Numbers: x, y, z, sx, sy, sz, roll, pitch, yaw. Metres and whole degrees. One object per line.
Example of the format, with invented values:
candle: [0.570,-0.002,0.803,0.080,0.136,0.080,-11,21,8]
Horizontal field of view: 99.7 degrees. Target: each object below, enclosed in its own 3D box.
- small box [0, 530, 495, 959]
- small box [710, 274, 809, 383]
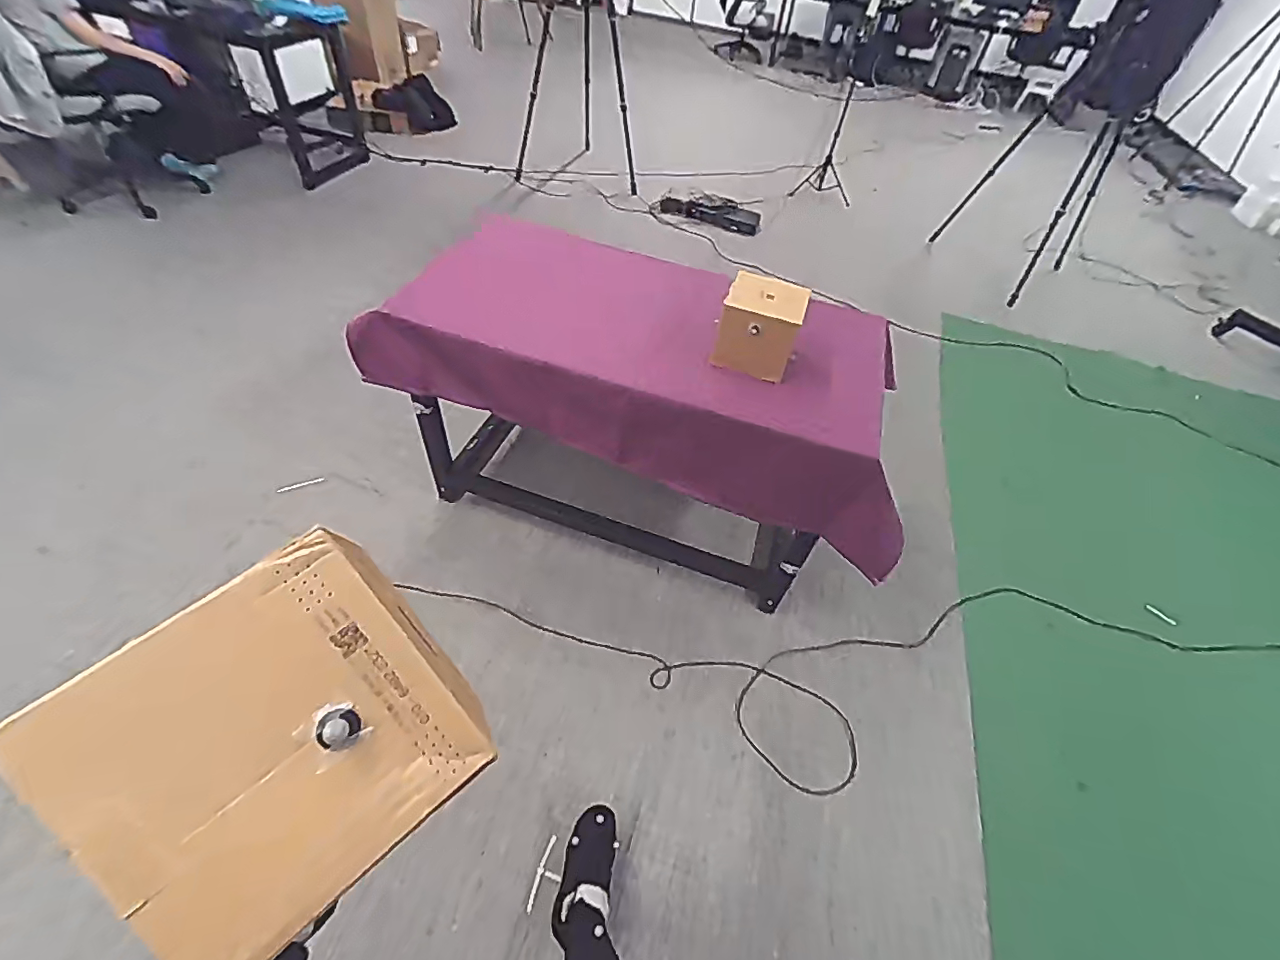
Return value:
small box: [-0.217,0.151,0.362,0.176,0.179,0.168,-38,94,-23]
small box: [0.277,-0.352,1.272,0.179,0.176,0.168,19,49,8]
